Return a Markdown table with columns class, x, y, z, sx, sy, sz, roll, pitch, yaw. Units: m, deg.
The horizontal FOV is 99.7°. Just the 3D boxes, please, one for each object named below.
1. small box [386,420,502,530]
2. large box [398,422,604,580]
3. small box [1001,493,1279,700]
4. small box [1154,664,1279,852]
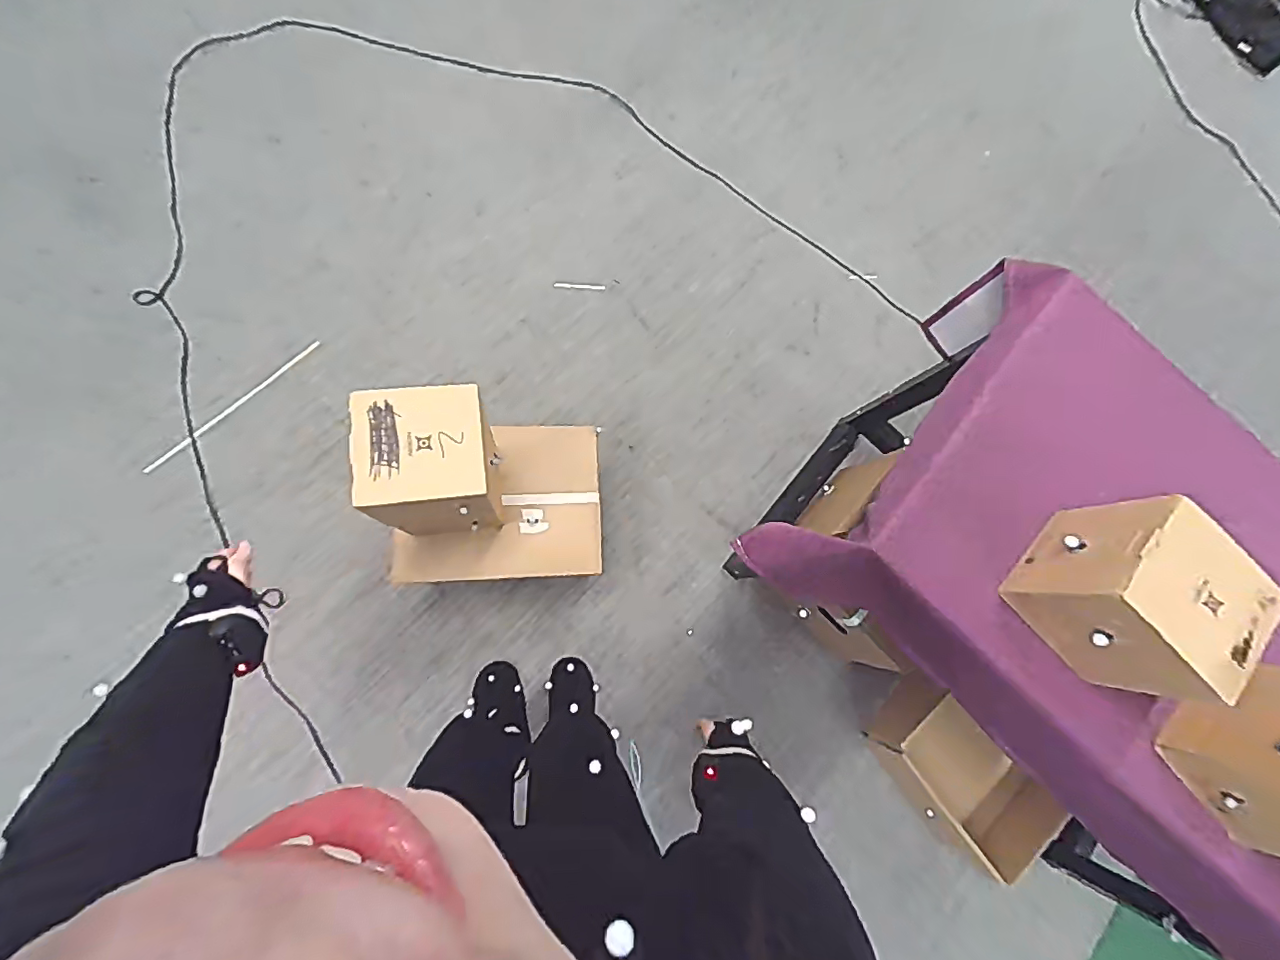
| class | x | y | z | sx | sy | sz | roll | pitch | yaw |
| --- | --- | --- | --- | --- | --- | --- | --- | --- | --- |
| small box | -0.347 | -0.005 | 0.987 | 0.179 | 0.176 | 0.168 | -5 | 79 | -10 |
| large box | -0.304 | 0.060 | 1.236 | 0.408 | 0.320 | 0.320 | -1 | 81 | -10 |
| small box | 0.619 | 0.145 | 0.691 | 0.168 | 0.176 | 0.179 | -44 | 88 | -13 |
| small box | 0.830 | 0.356 | 0.689 | 0.179 | 0.176 | 0.168 | -39 | 88 | -13 |
